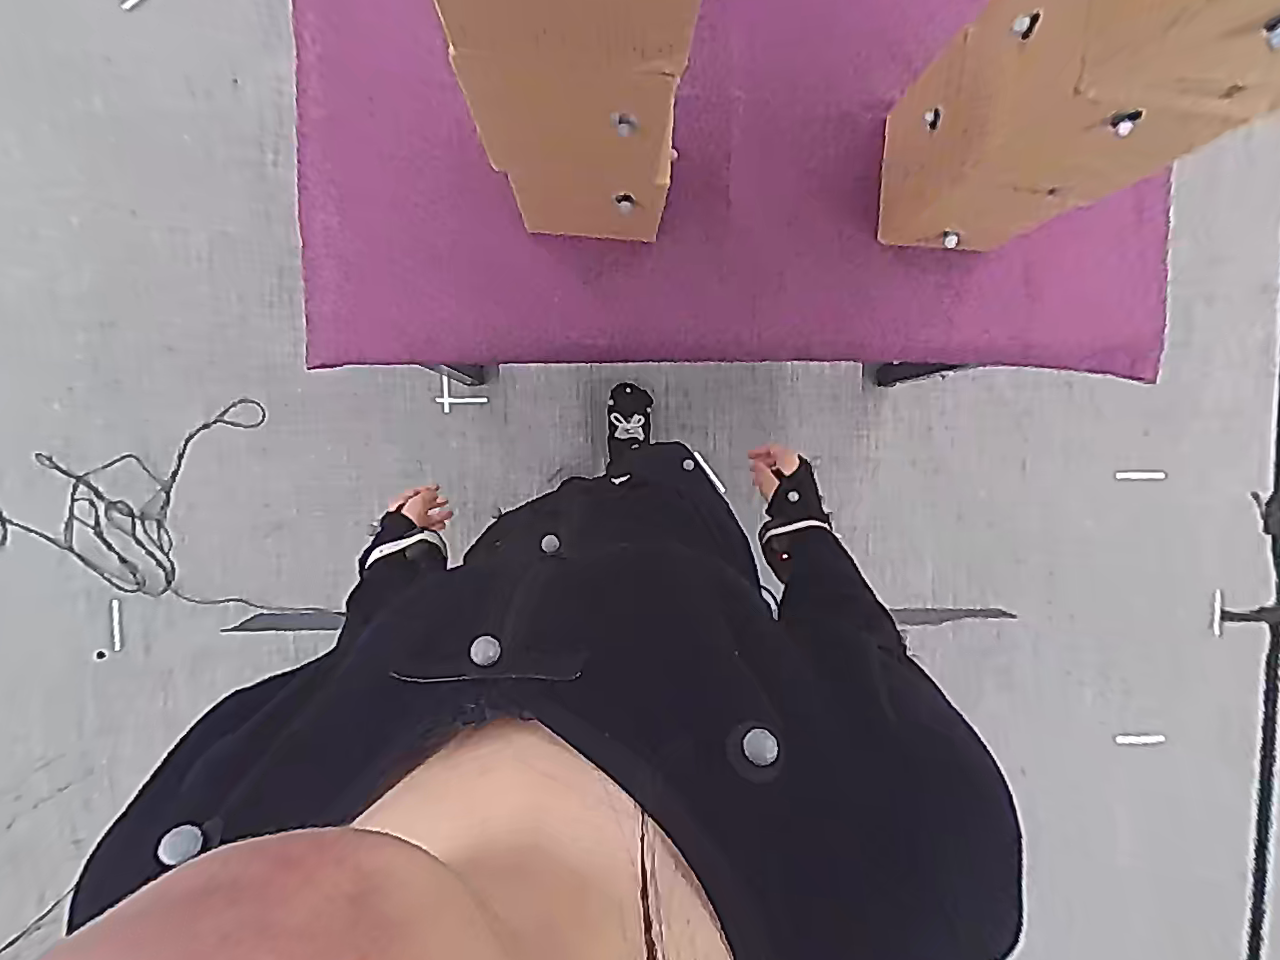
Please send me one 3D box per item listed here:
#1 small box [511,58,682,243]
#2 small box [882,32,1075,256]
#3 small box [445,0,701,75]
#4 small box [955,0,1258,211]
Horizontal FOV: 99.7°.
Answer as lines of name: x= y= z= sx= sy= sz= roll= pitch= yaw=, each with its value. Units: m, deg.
small box: x=-0.051 y=-0.403 z=0.652 sx=0.179 sy=0.176 sz=0.168 roll=3 pitch=92 yaw=-3
small box: x=0.426 y=-0.405 z=0.680 sx=0.168 sy=0.176 sz=0.179 roll=3 pitch=93 yaw=-3
small box: x=-0.041 y=-0.386 z=0.326 sx=0.179 sy=0.176 sz=0.168 roll=2 pitch=94 yaw=-5
small box: x=0.434 y=-0.391 z=0.517 sx=0.168 sy=0.176 sz=0.179 roll=5 pitch=92 yaw=-3
